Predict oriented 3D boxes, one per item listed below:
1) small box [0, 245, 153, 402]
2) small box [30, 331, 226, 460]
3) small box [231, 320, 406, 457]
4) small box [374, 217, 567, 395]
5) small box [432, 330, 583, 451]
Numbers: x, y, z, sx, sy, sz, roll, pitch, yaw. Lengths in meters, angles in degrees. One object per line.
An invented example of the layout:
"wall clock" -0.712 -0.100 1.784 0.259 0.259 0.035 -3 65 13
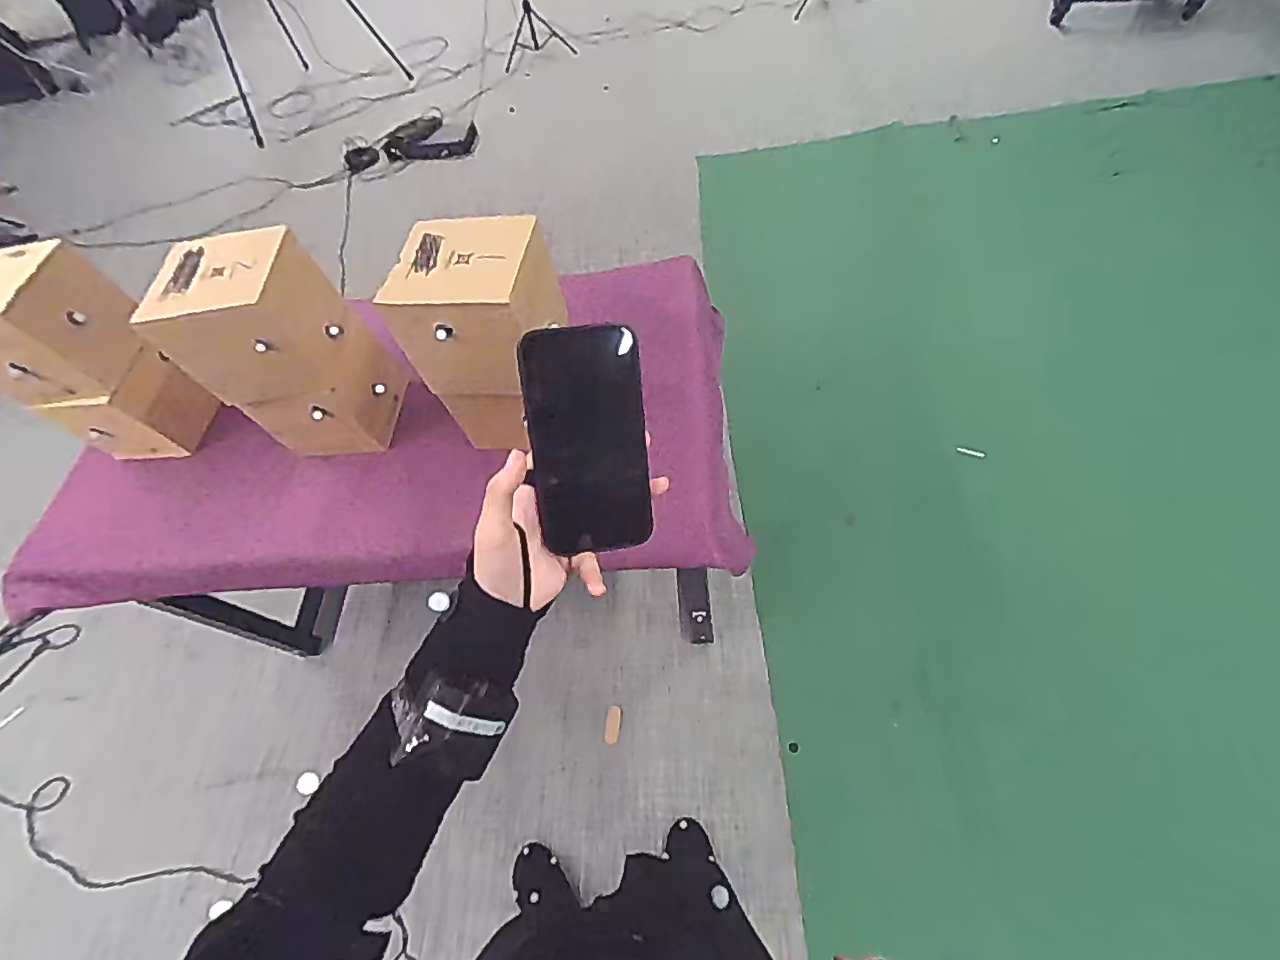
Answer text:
"small box" -0.948 -0.239 0.866 0.168 0.176 0.179 -7 59 4
"small box" -0.926 -0.147 1.001 0.168 0.176 0.179 -3 58 8
"small box" -0.539 -0.153 0.939 0.179 0.176 0.168 -3 58 7
"small box" -0.217 -0.232 0.743 0.179 0.176 0.168 2 59 10
"small box" -0.202 -0.159 0.890 0.179 0.176 0.168 2 59 11
